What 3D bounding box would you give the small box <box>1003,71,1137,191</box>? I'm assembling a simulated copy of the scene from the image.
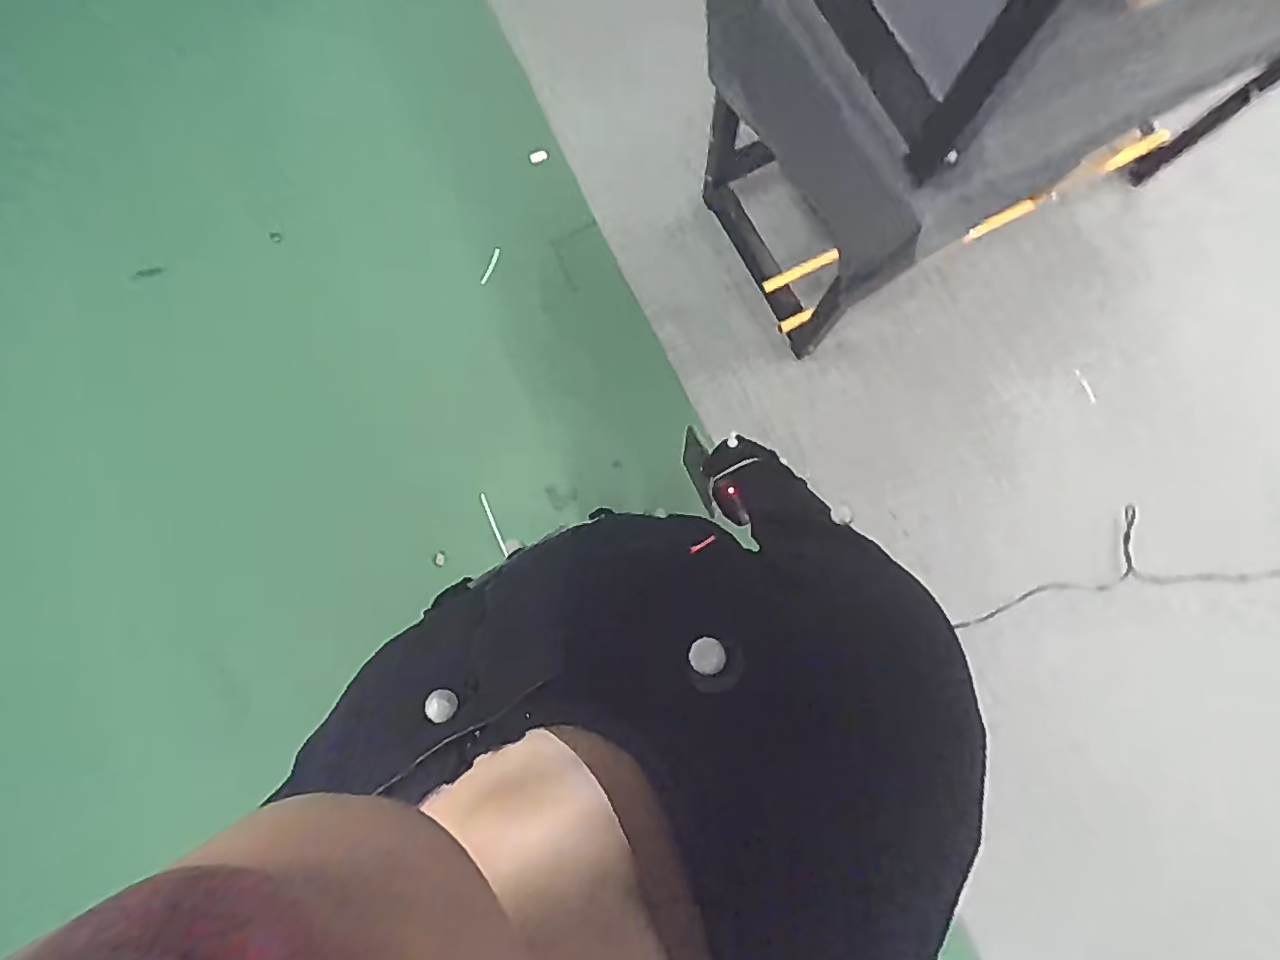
[{"bbox_3d":[1.089,-0.878,1.385,0.168,0.176,0.179,-24,84,-1],"label":"small box"}]
